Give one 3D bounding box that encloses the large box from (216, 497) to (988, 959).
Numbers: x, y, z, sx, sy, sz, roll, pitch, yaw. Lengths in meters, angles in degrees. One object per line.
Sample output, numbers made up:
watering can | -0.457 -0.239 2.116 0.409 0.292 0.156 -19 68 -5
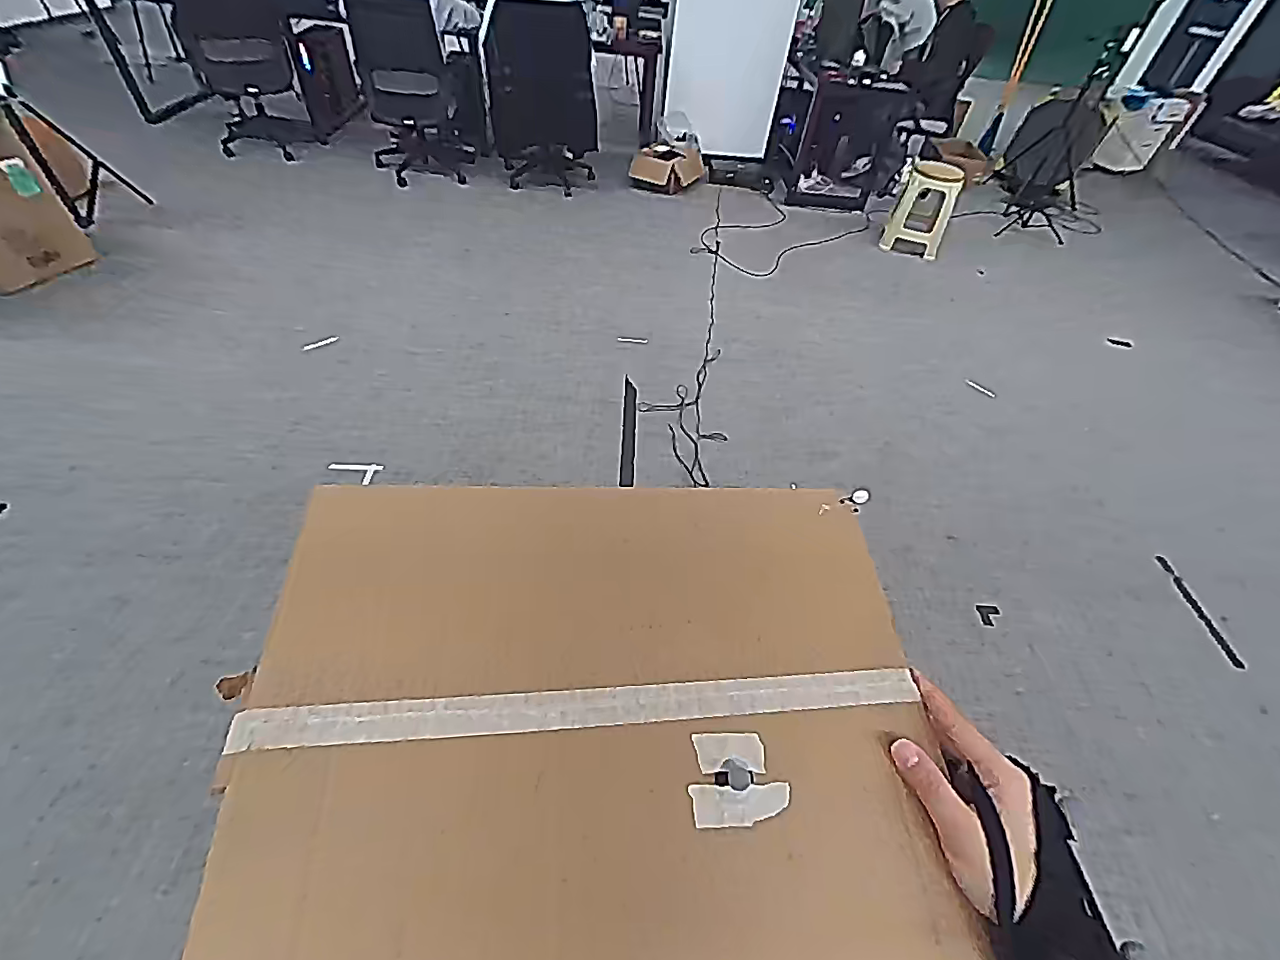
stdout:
large box | -0.038 0.224 0.463 0.408 0.320 0.320 1 58 -11
